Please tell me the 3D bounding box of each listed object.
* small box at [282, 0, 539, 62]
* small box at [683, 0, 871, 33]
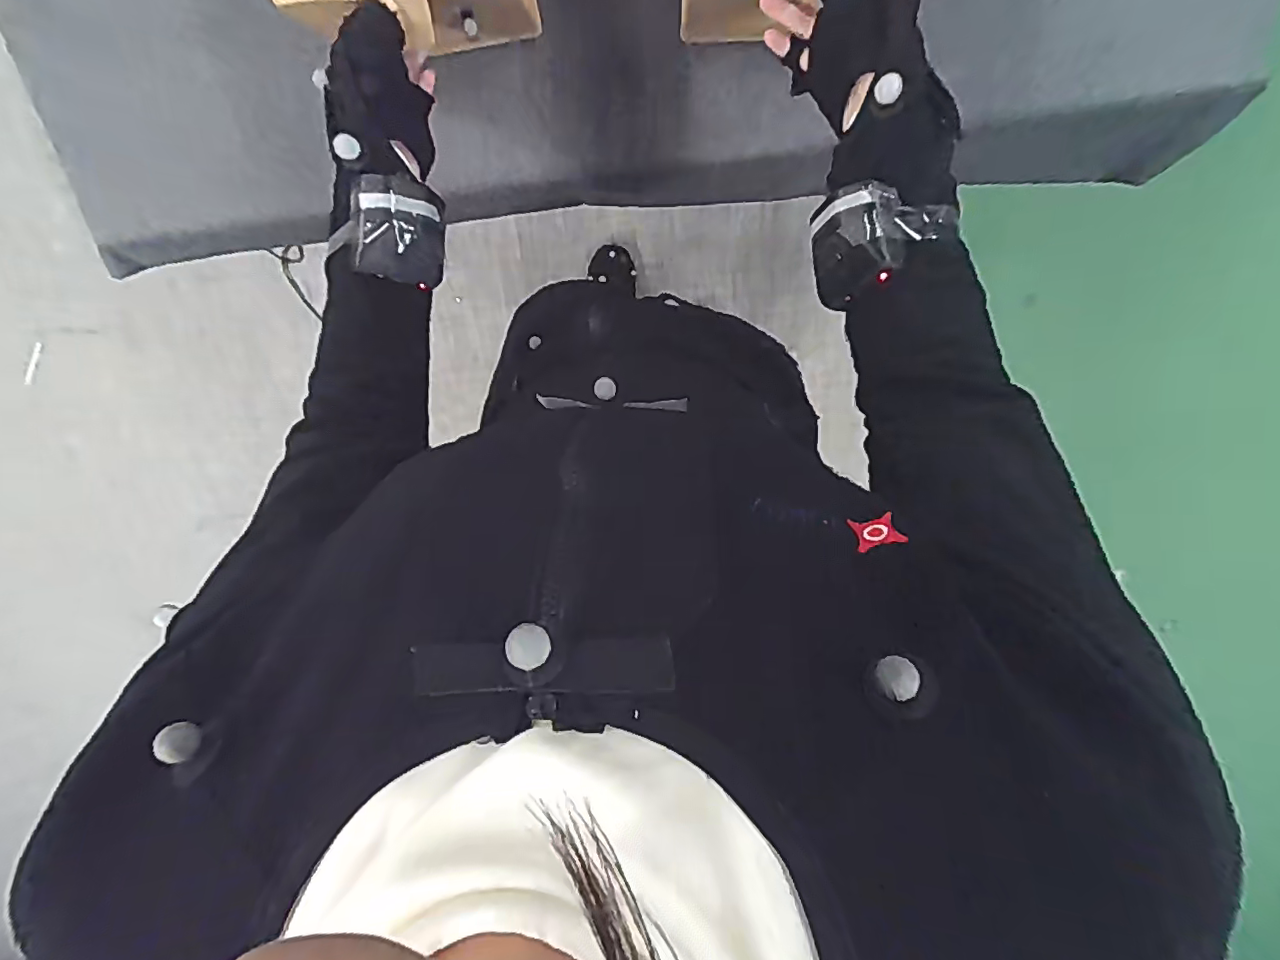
[{"bbox_3d":[-0.188,-0.459,0.423,0.168,0.176,0.179,-7,114,5],"label":"small box"},{"bbox_3d":[0.116,-0.471,0.408,0.168,0.176,0.179,0,111,3],"label":"small box"}]
